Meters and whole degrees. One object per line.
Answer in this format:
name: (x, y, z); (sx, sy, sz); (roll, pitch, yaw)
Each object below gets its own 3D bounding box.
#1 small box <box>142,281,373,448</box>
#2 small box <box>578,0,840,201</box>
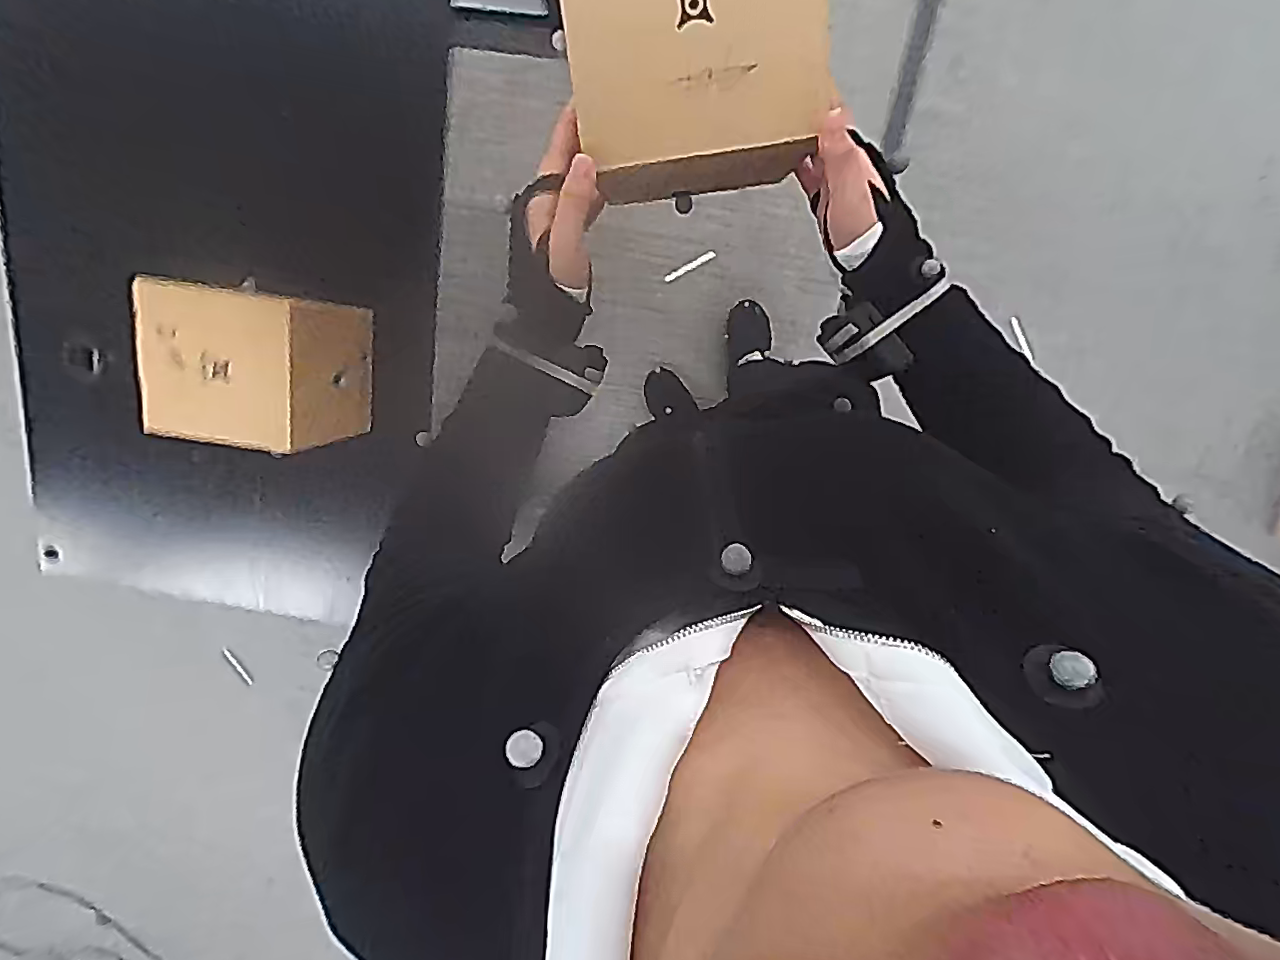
small box: (-0.460, -0.146, 0.681); (0.179, 0.176, 0.168); (9, 104, 2)
small box: (0.046, -0.329, 0.413); (0.168, 0.176, 0.179); (-5, 110, 5)
